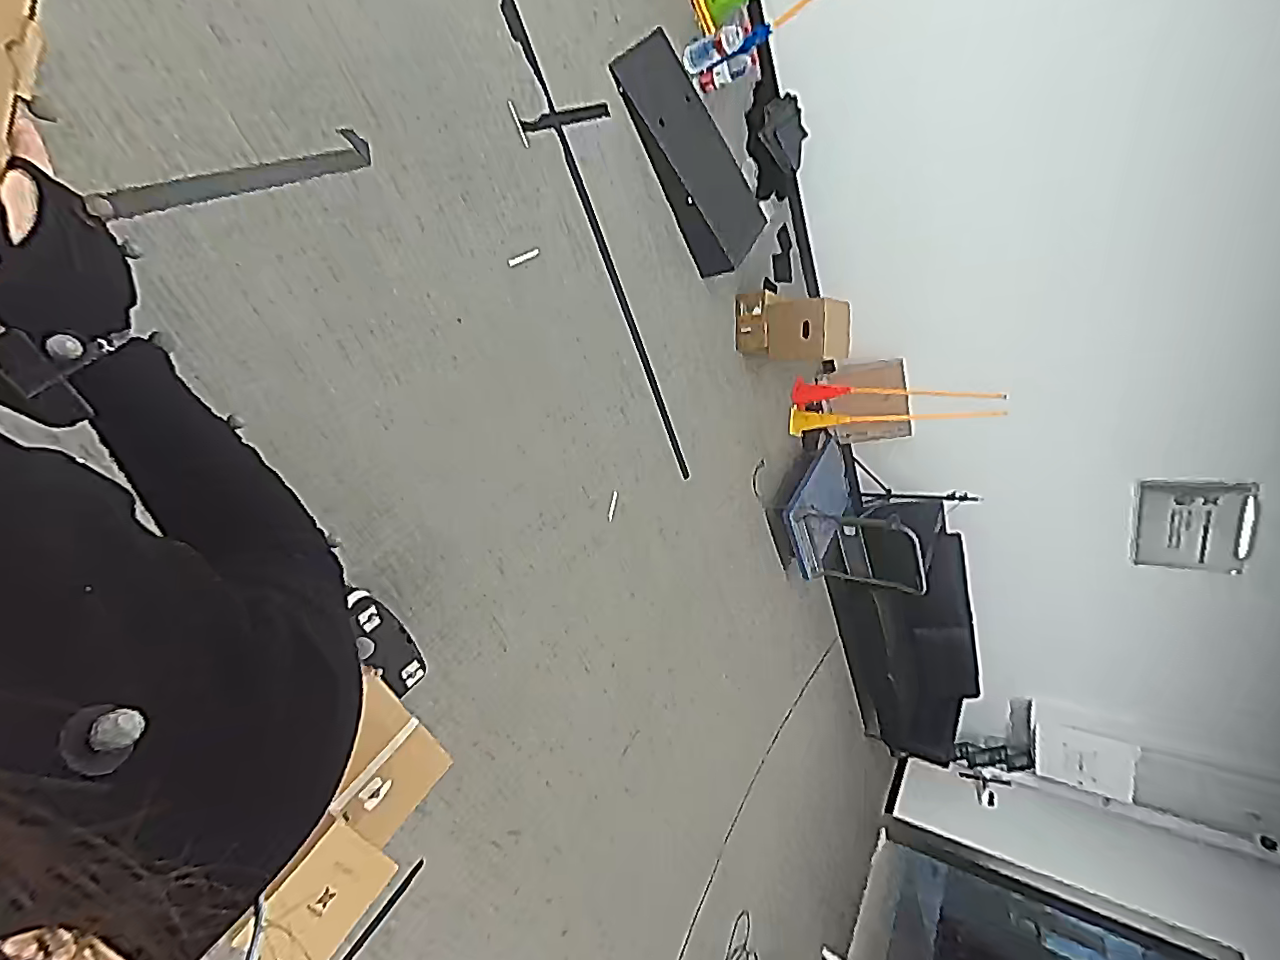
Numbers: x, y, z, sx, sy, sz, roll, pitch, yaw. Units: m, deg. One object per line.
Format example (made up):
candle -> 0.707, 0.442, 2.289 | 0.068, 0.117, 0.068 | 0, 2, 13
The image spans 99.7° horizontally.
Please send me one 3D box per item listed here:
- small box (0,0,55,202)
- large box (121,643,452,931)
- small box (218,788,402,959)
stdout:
small box -> -0.471, -0.275, 0.303 | 0.179, 0.176, 0.168 | 10, 92, -51
large box -> -0.679, 0.603, 1.080 | 0.408, 0.320, 0.320 | -49, 127, -39
small box -> -0.534, 0.645, 0.871 | 0.179, 0.176, 0.168 | -49, 126, -38
